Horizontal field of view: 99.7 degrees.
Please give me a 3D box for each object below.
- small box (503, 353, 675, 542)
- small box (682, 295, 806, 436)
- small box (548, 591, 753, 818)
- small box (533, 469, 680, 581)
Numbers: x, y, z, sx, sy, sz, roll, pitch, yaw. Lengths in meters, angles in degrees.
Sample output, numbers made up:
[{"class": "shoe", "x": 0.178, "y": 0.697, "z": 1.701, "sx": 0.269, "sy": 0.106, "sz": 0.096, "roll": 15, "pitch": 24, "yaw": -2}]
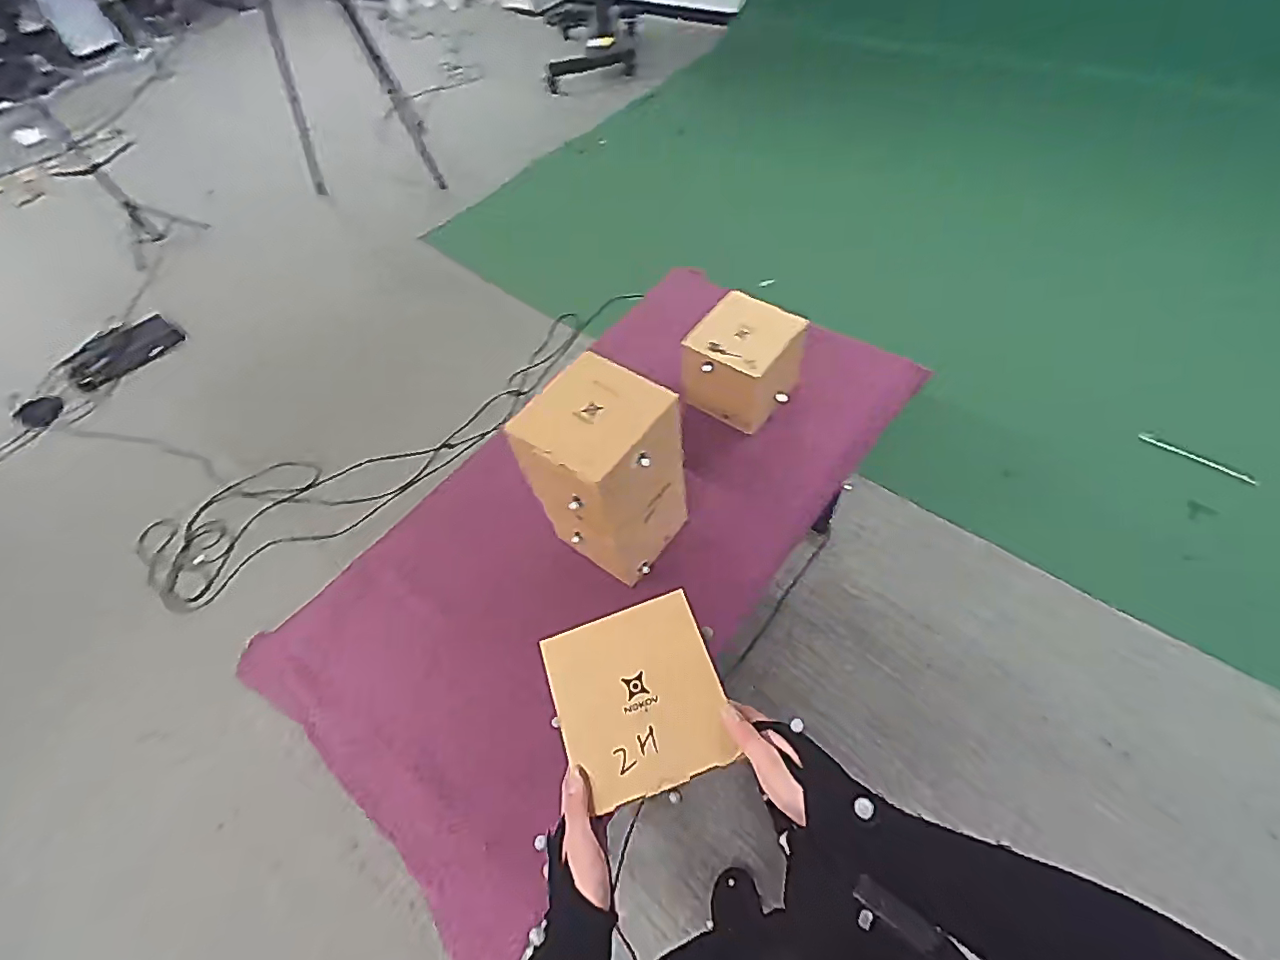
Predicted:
[{"class": "small box", "x": -0.059, "y": -0.041, "z": 0.775, "sx": 0.168, "sy": 0.176, "sz": 0.179, "roll": 31, "pitch": 64, "yaw": 23}, {"class": "small box", "x": 0.198, "y": -0.222, "z": 1.060, "sx": 0.168, "sy": 0.176, "sz": 0.179, "roll": 31, "pitch": 65, "yaw": 25}, {"class": "small box", "x": 0.010, "y": 0.252, "z": 0.605, "sx": 0.168, "sy": 0.176, "sz": 0.179, "roll": -19, "pitch": 61, "yaw": -4}, {"class": "small box", "x": -0.045, "y": 0.047, "z": 0.912, "sx": 0.179, "sy": 0.176, "sz": 0.168, "roll": 30, "pitch": 65, "yaw": 24}]
